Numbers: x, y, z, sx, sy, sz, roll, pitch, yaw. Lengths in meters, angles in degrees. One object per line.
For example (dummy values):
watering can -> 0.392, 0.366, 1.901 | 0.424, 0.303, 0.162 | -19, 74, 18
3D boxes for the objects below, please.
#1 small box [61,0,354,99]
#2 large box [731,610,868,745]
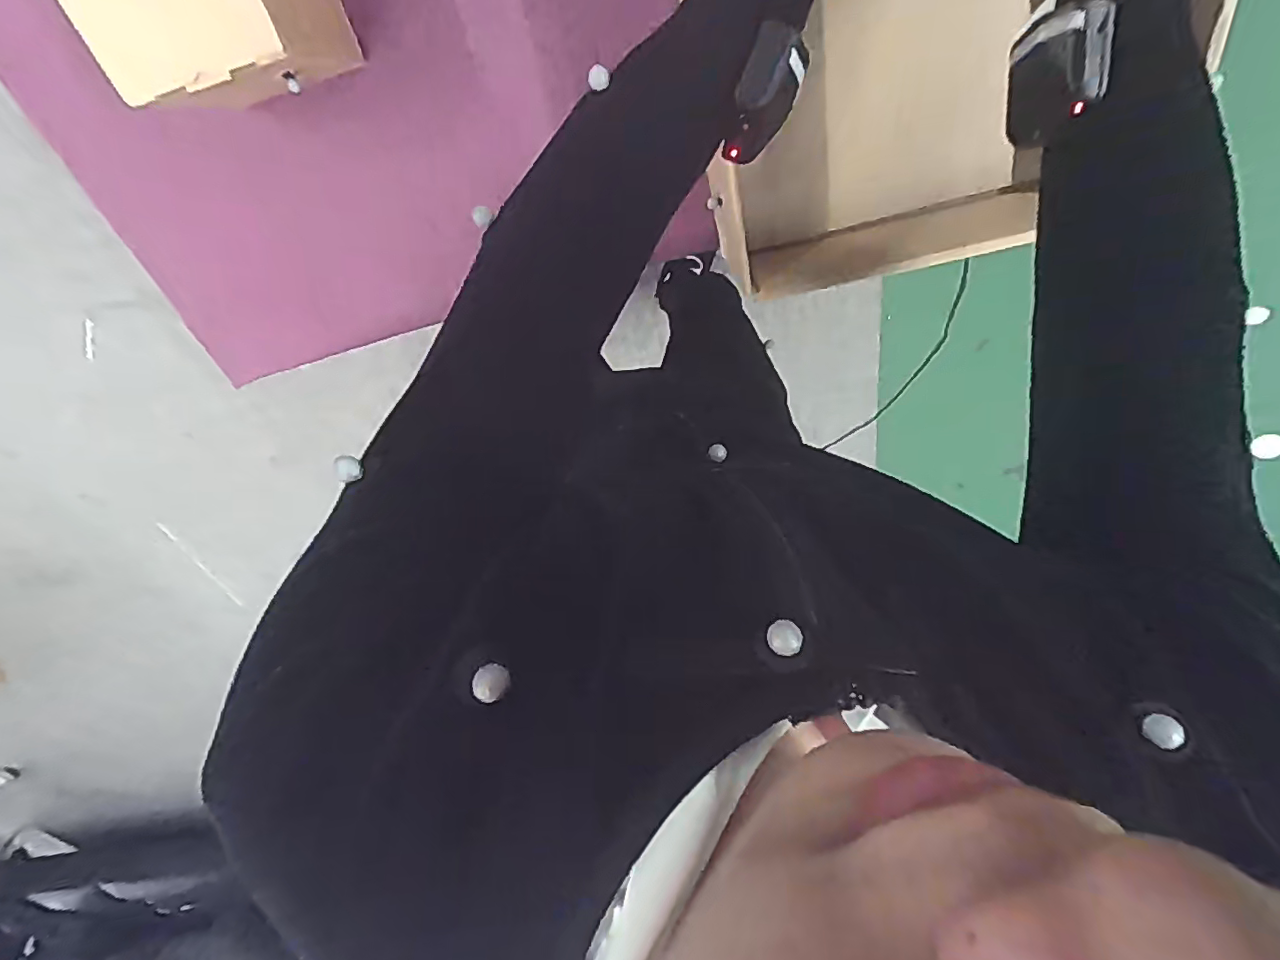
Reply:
small box -> -0.401, -0.471, 0.490 | 0.168, 0.176, 0.179 | -10, 125, 7
large box -> 0.635, 0.812, 2.221 | 0.320, 0.320, 0.408 | 37, 117, -24
